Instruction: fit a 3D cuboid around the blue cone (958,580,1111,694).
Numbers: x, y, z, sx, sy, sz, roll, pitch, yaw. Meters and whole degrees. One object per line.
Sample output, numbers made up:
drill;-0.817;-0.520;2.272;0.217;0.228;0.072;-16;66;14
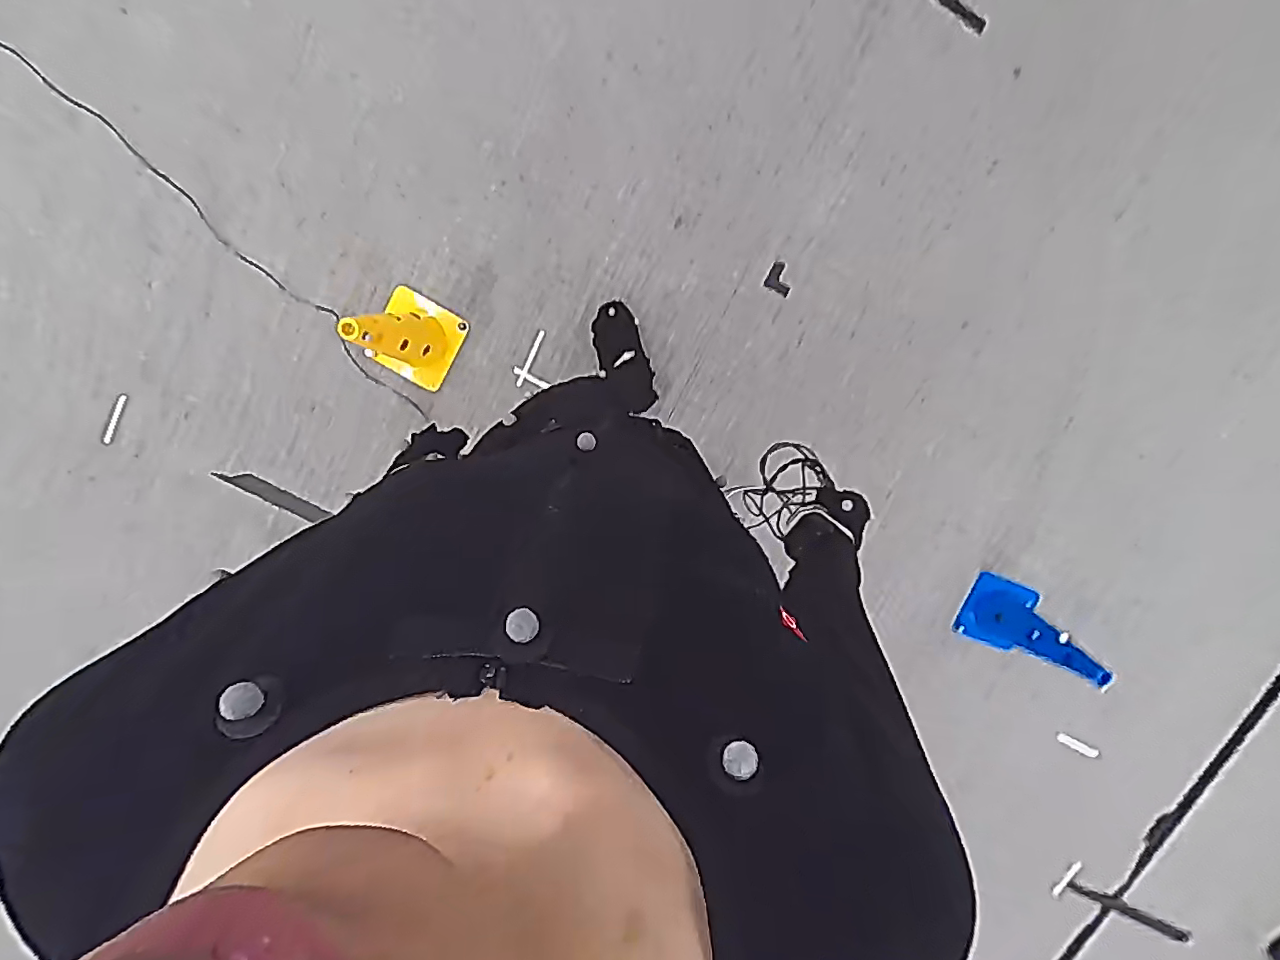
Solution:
blue cone;1.036;0.419;1.391;0.193;0.380;0.192;23;100;-6
